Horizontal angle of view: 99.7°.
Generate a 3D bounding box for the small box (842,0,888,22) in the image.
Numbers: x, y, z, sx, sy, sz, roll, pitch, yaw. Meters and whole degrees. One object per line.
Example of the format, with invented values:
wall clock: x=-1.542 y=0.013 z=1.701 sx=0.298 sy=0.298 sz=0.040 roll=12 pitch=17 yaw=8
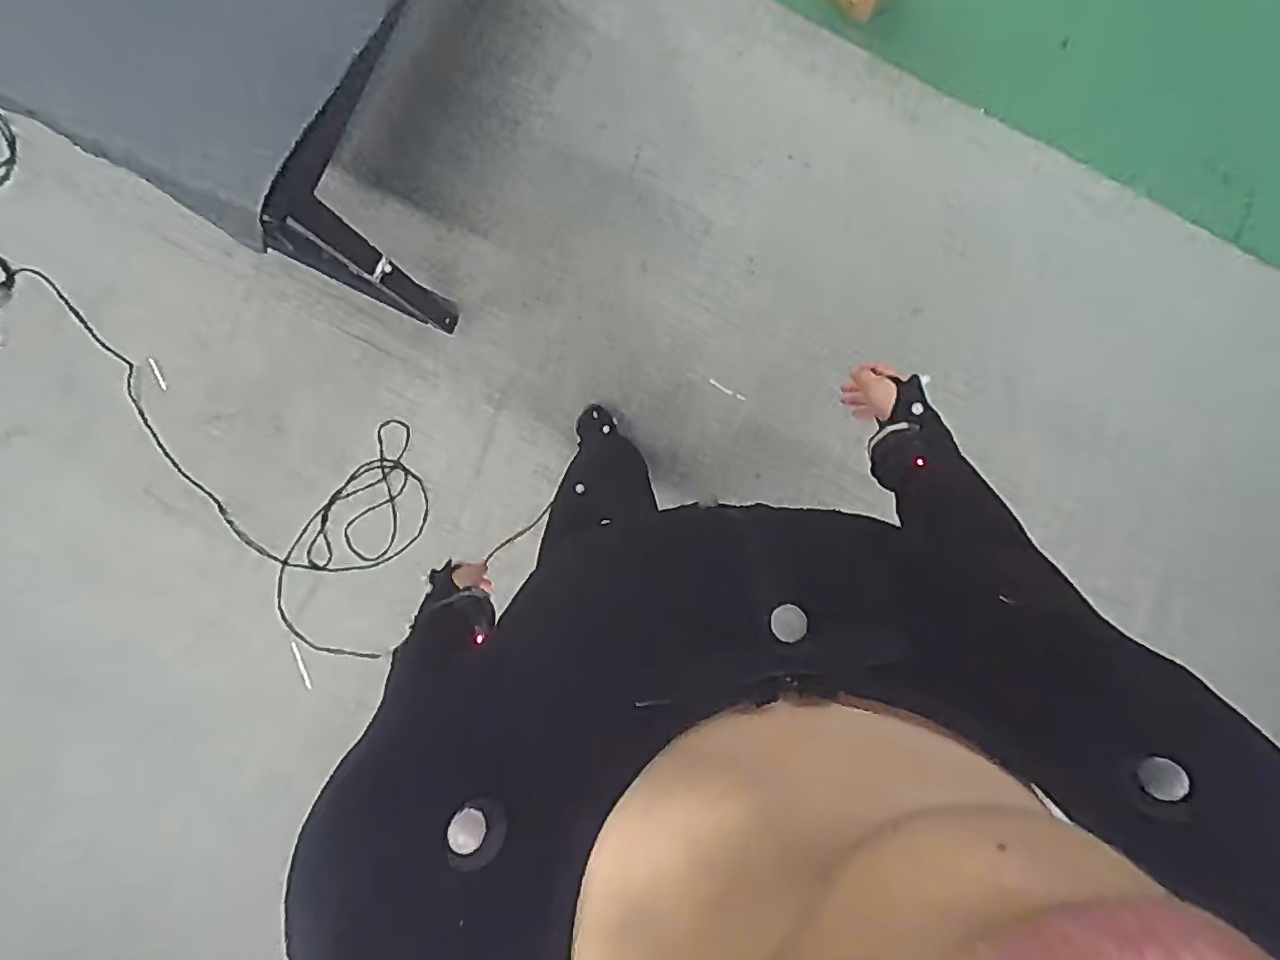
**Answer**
small box: x=0.606 y=-1.344 z=1.381 sx=0.168 sy=0.176 sz=0.179 roll=43 pitch=90 yaw=-2
